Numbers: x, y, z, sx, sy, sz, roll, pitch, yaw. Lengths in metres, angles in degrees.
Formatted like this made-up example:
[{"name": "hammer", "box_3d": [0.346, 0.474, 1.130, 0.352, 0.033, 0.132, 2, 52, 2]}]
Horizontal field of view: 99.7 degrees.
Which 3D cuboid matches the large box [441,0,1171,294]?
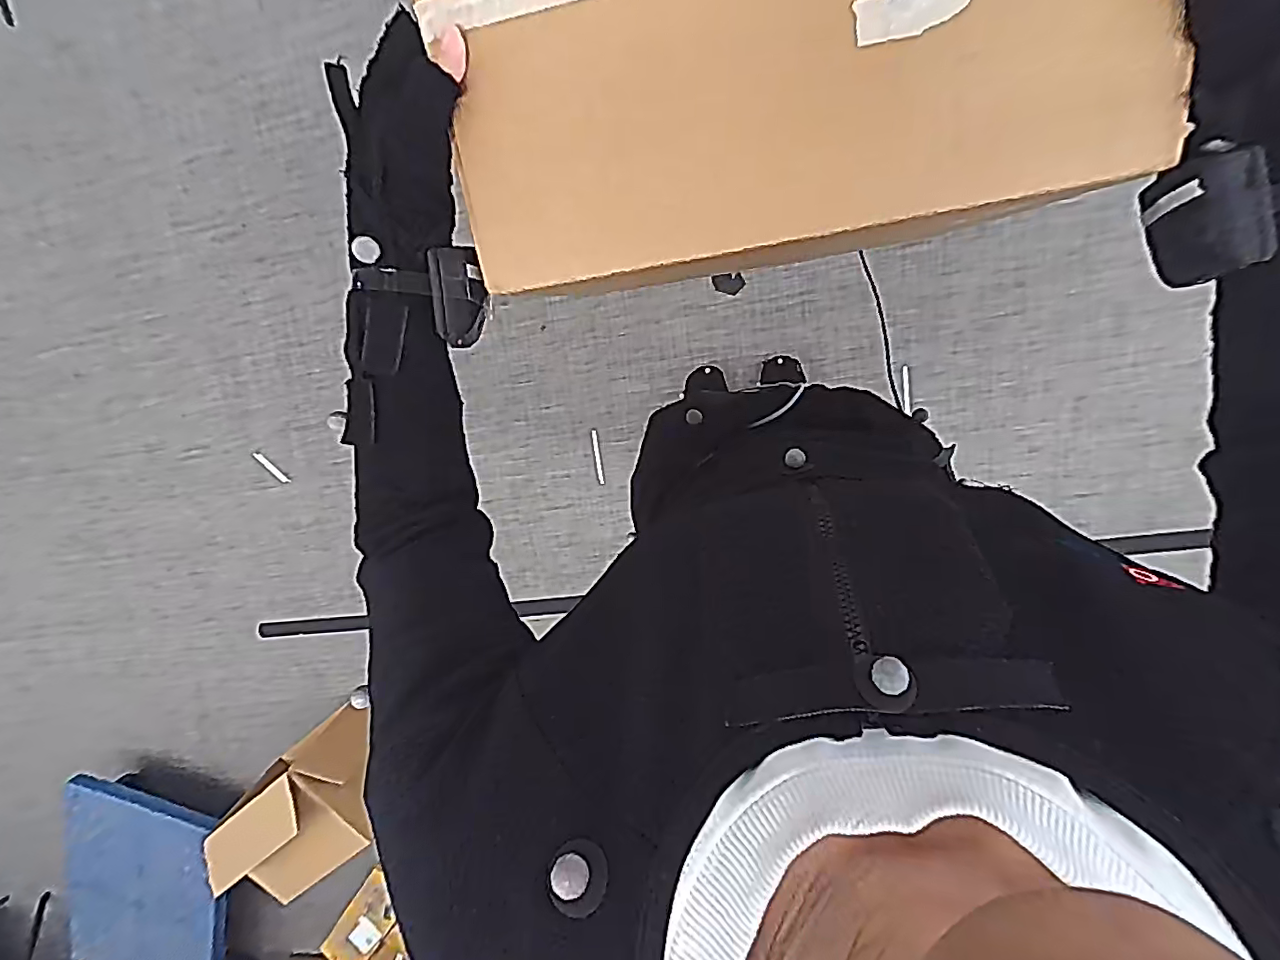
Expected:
[{"name": "large box", "box_3d": [0.090, -0.349, 0.438, 0.408, 0.320, 0.320, -7, 108, 9]}]
